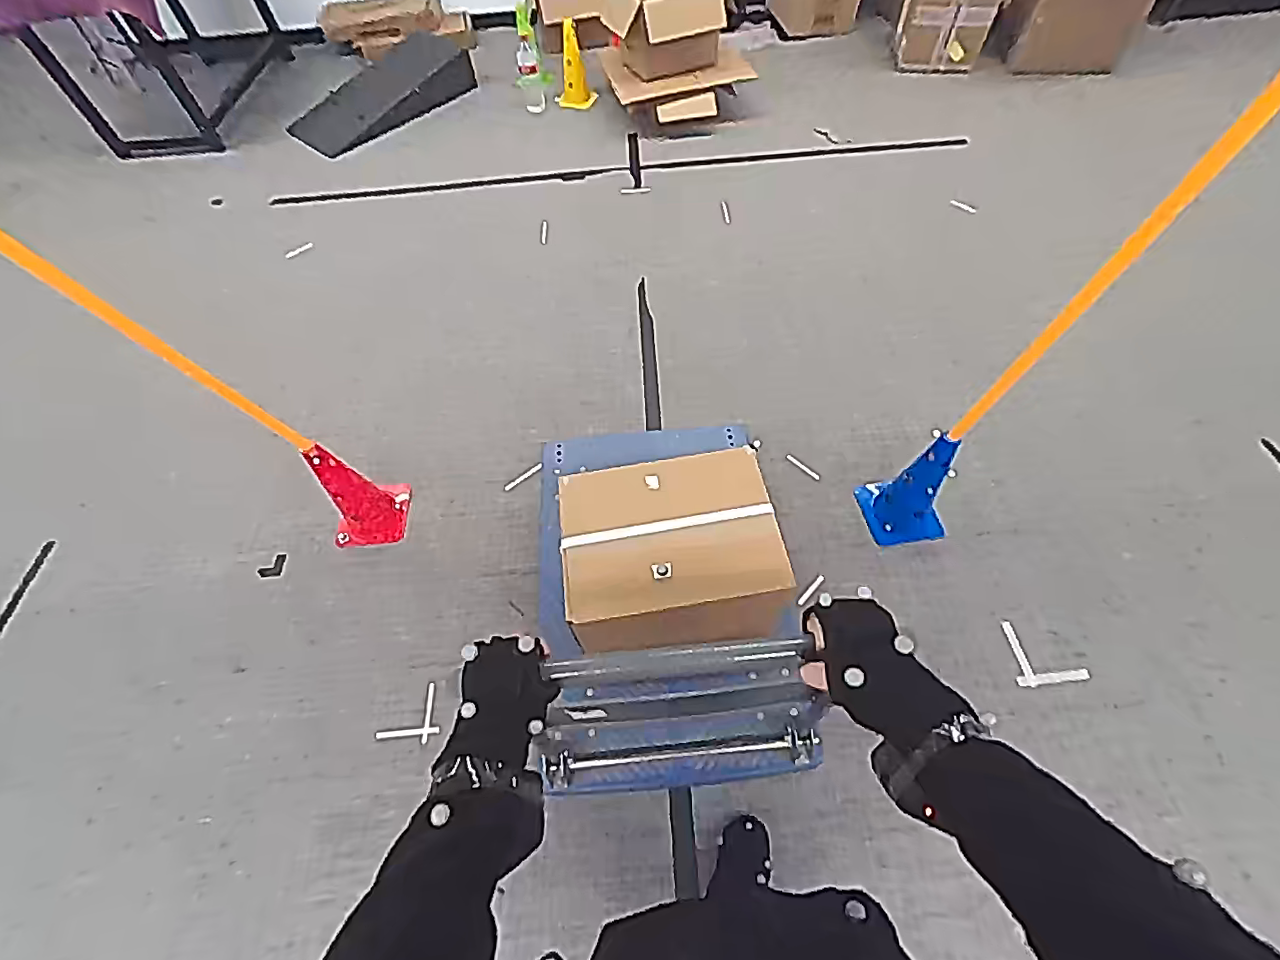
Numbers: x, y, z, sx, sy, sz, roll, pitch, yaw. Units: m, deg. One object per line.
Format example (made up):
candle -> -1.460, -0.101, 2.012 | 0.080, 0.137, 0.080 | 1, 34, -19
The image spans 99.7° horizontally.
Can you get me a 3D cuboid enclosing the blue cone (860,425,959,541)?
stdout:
blue cone -> 0.740, -0.006, 1.413 | 0.193, 0.380, 0.192 | -7, 57, -2
